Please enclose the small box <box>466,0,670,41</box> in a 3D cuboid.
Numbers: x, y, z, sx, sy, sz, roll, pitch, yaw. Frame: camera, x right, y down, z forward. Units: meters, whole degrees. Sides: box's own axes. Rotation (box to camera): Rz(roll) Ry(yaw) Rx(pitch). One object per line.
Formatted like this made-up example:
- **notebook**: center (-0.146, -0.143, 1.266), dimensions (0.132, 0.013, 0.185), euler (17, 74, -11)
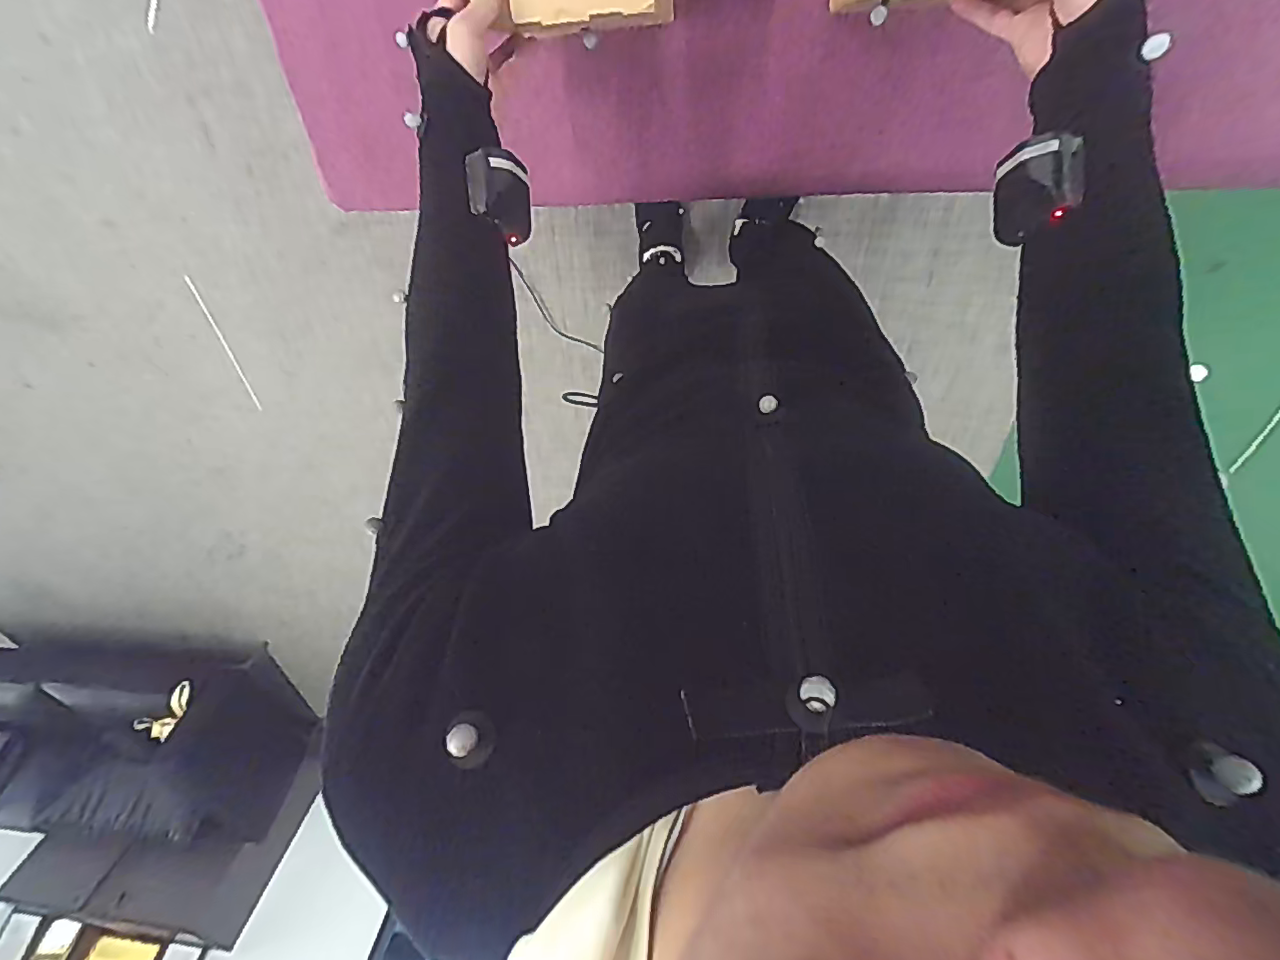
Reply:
- **small box**: center (-0.063, -0.511, 0.480), dimensions (0.168, 0.176, 0.179), euler (2, 128, 9)
